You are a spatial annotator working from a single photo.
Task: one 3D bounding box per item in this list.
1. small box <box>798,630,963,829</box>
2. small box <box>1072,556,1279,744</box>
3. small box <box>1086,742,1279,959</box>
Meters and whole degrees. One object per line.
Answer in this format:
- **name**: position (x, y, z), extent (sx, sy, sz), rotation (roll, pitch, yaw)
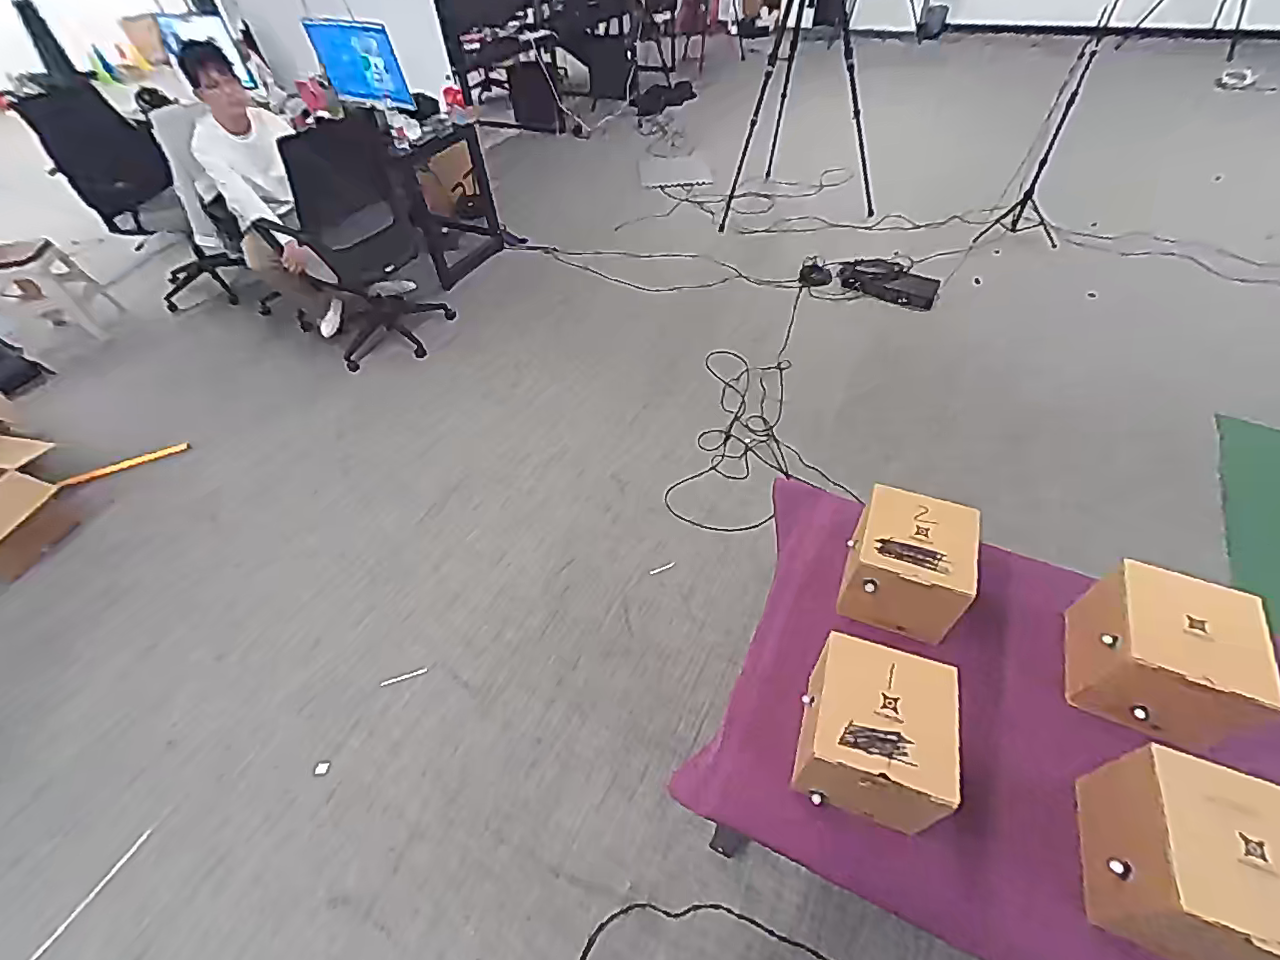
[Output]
- **small box**: position (0.321, 0.342, 0.738), extent (0.168, 0.176, 0.179), rotation (14, 49, 16)
- **small box**: position (0.765, 0.247, 0.786), extent (0.168, 0.176, 0.179), rotation (18, 54, 19)
- **small box**: position (0.655, 0.443, 0.621), extent (0.168, 0.176, 0.179), rotation (17, 51, 18)
